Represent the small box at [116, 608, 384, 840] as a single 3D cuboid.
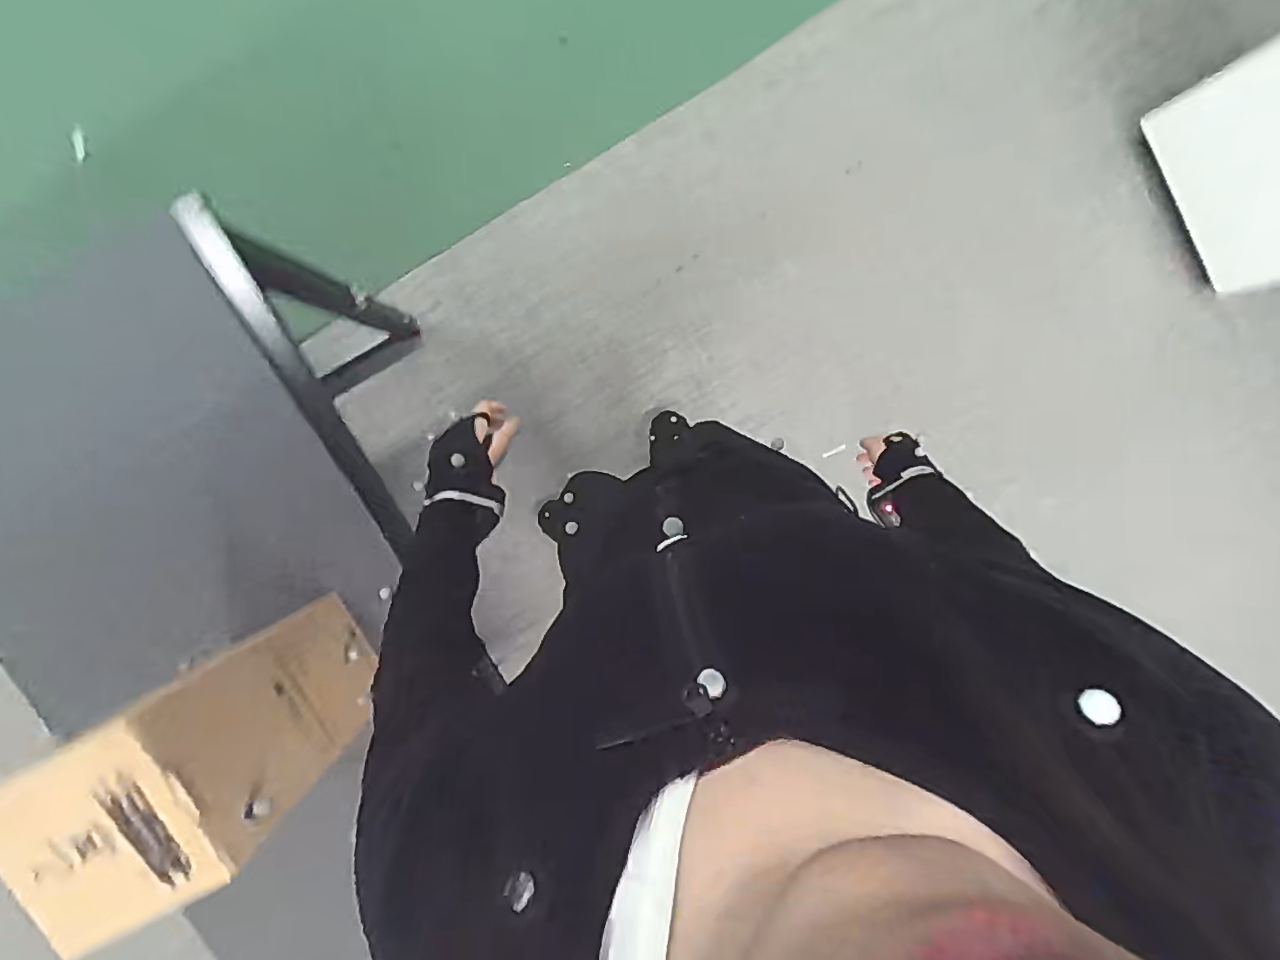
[{"bbox_3d":[-0.465,0.288,0.676,0.179,0.176,0.168,-28,95,2],"label":"small box"}]
